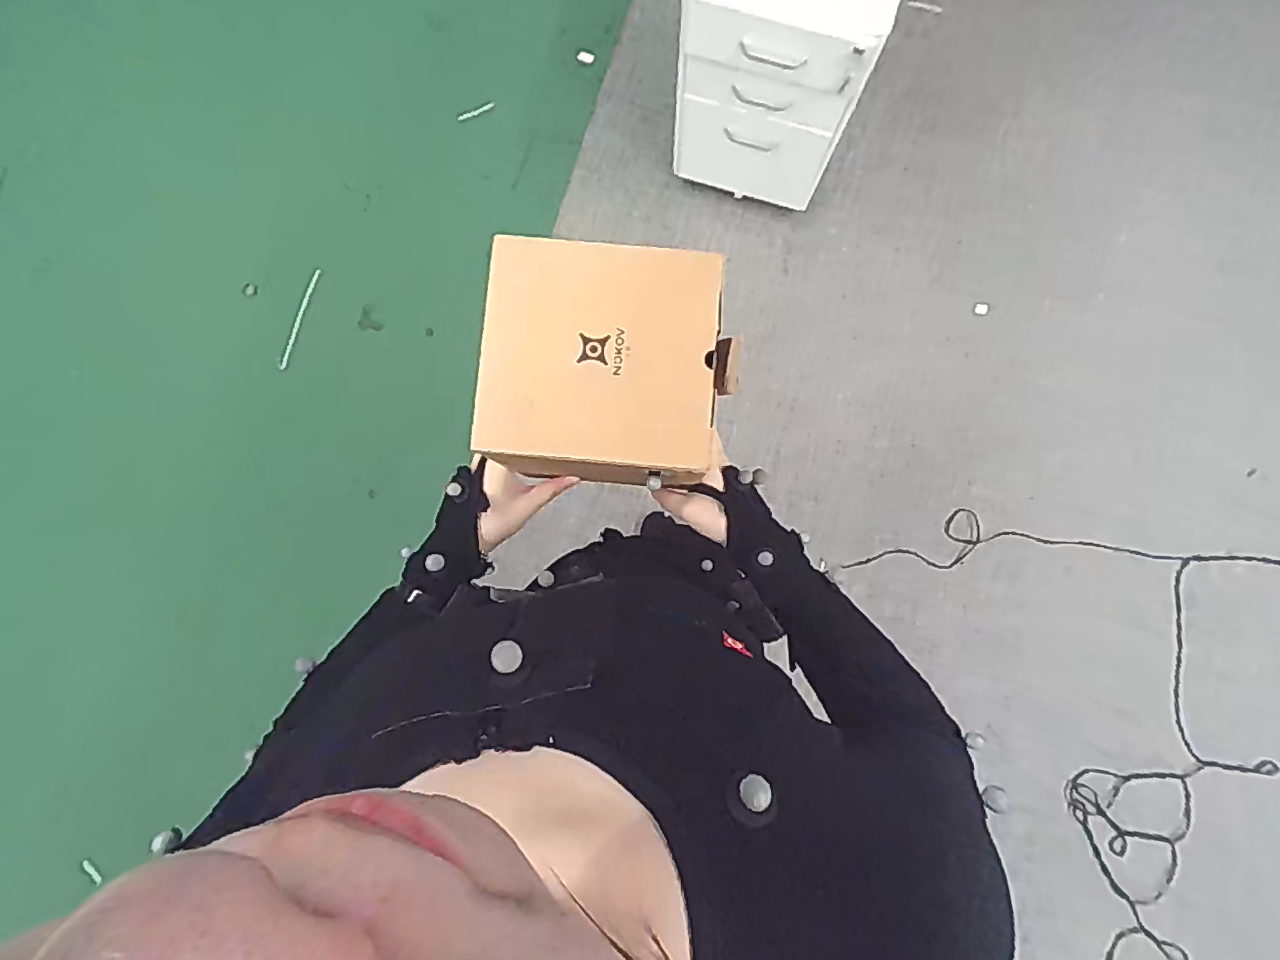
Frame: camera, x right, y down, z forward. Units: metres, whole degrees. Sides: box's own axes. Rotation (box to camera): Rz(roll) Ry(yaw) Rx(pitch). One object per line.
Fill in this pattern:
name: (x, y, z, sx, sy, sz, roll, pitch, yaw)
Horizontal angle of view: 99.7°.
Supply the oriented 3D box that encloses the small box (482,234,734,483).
small box: (-0.023, -0.090, 0.480, 0.179, 0.176, 0.168, 5, 84, -1)
